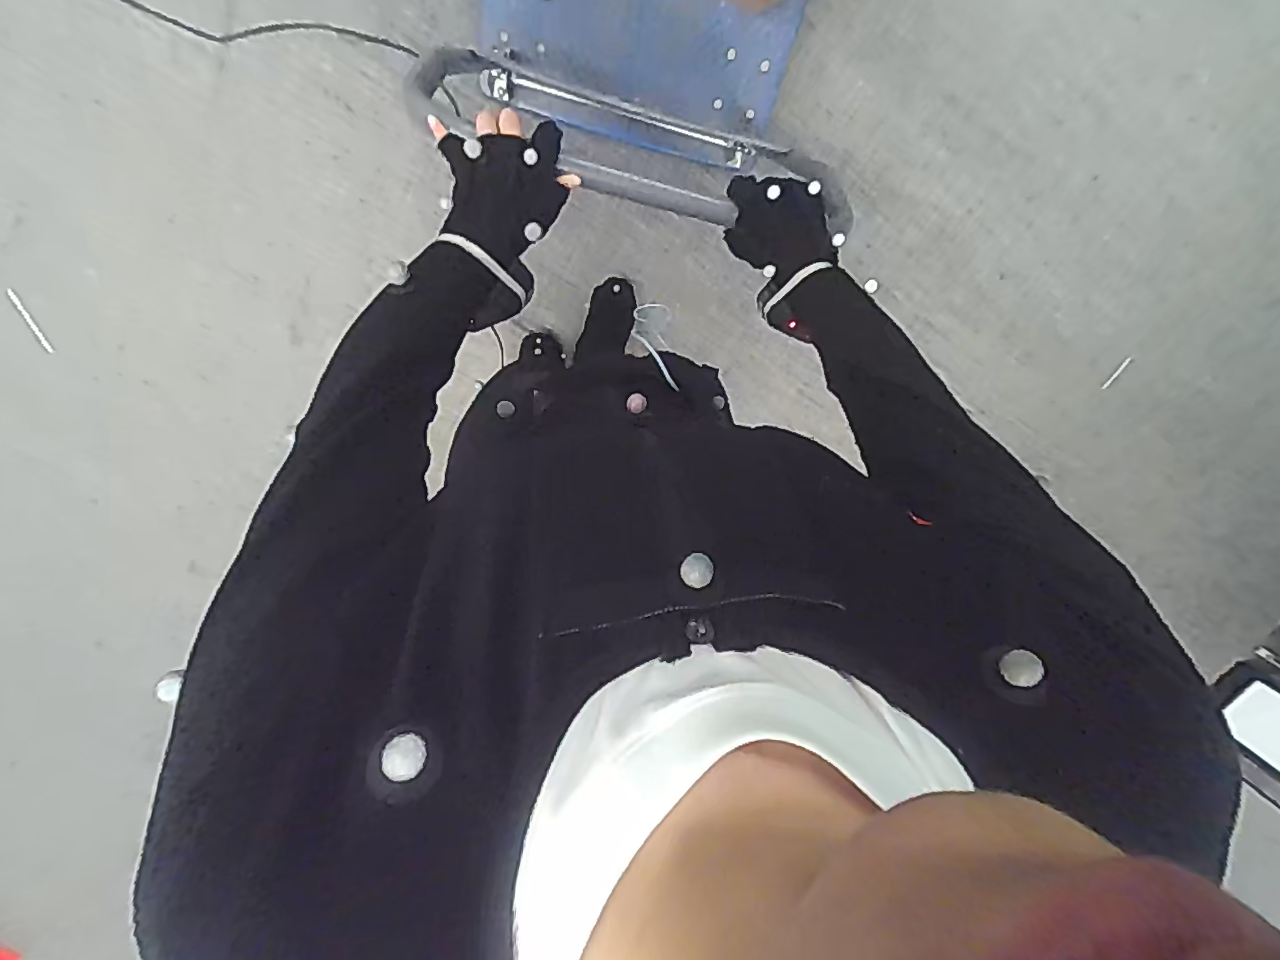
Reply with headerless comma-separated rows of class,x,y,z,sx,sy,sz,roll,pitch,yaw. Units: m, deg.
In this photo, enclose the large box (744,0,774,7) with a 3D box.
large box,0.113,-0.959,0.749,0.408,0.320,0.320,21,121,-17
